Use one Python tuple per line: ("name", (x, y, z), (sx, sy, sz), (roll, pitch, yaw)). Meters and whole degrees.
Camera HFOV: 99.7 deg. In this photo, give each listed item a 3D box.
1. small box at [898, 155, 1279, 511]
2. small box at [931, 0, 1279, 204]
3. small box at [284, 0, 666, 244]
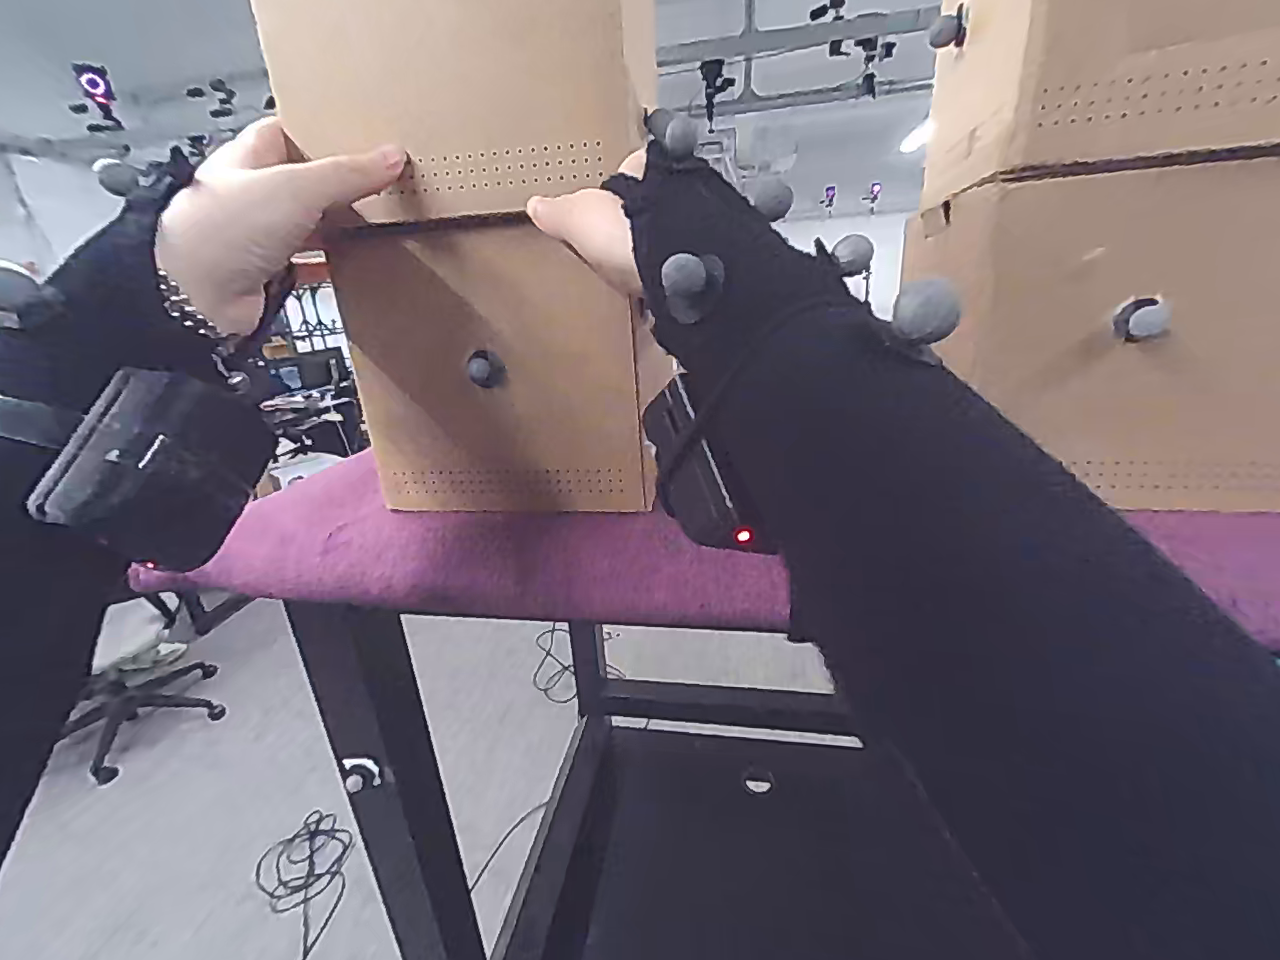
("small box", (0.269, -0.087, 0.333), (0.179, 0.176, 0.168), (0, 21, 12))
("small box", (0.262, -0.238, 0.273), (0.179, 0.176, 0.168), (3, 21, 14))
("small box", (-0.080, -0.236, 0.319), (0.179, 0.176, 0.168), (1, 21, 7))
